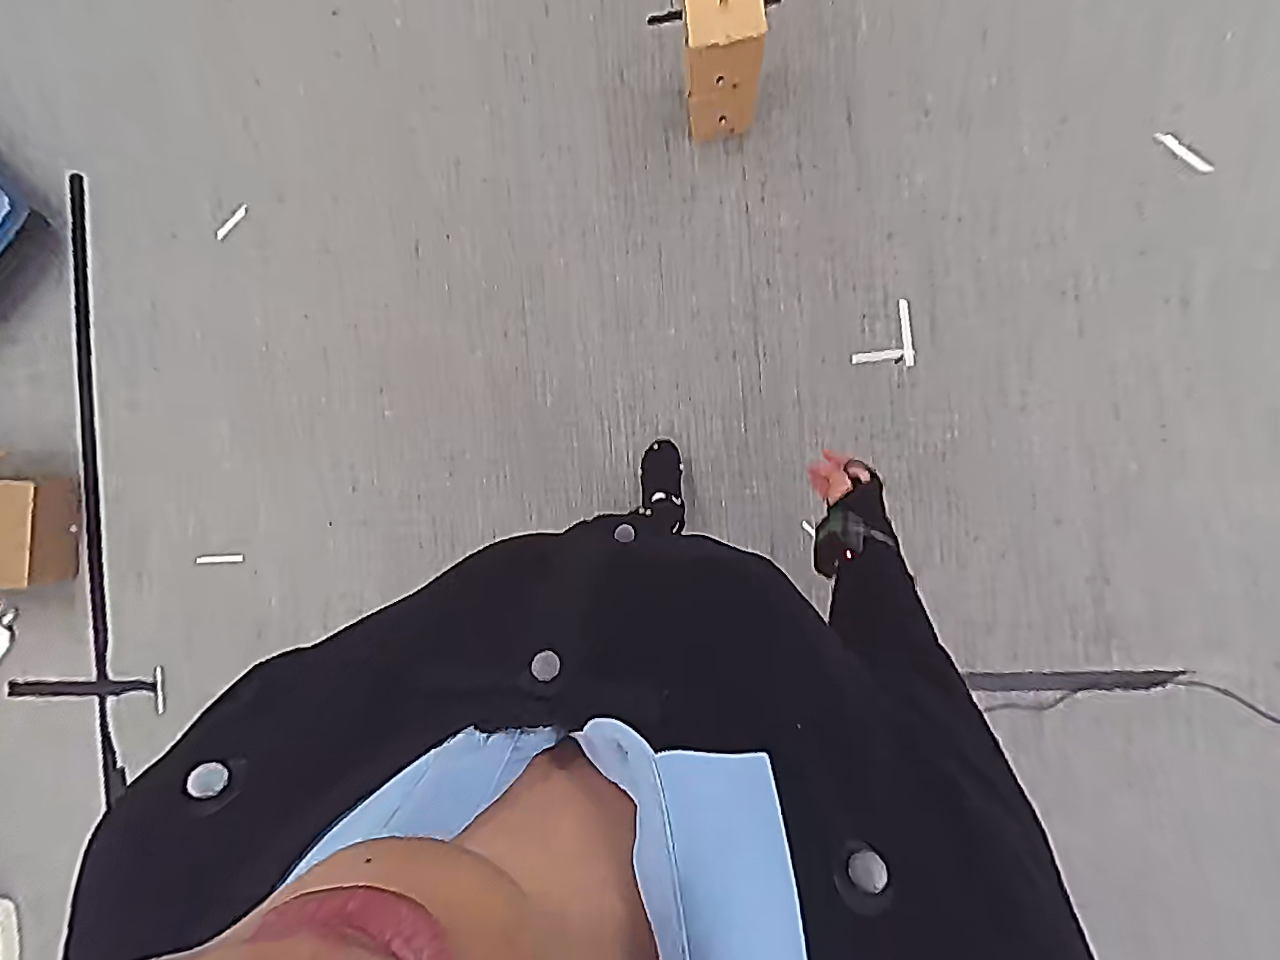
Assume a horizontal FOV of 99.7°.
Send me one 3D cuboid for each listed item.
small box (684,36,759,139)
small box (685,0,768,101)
[{"bbox_3d":[0.207,-1.011,1.387,0.168,0.176,0.179,-8,88,6],"label":"small box"},{"bbox_3d":[0.189,-1.012,1.225,0.168,0.176,0.179,-6,90,6],"label":"small box"}]
